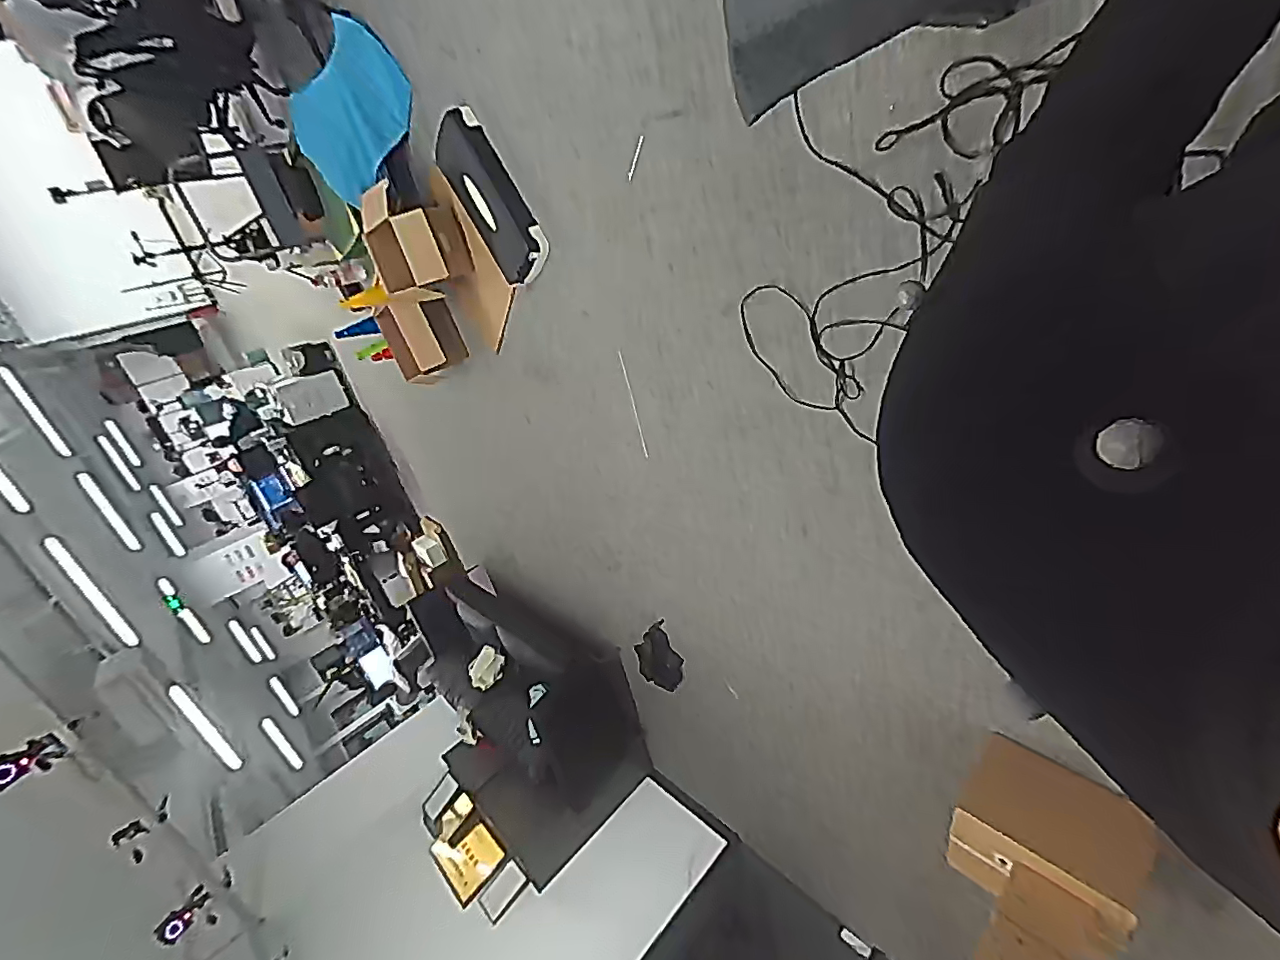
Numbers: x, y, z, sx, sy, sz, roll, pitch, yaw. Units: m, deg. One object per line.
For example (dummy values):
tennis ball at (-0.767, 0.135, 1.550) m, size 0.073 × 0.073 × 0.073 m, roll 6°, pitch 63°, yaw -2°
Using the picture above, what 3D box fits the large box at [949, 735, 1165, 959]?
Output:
large box at (1.179, 1.040, 1.555) m, size 0.408 × 0.320 × 0.320 m, roll 21°, pitch 131°, yaw 44°

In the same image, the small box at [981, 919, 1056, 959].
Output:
small box at (0.915, 1.221, 1.299) m, size 0.168 × 0.176 × 0.179 m, roll 21°, pitch 133°, yaw 45°
